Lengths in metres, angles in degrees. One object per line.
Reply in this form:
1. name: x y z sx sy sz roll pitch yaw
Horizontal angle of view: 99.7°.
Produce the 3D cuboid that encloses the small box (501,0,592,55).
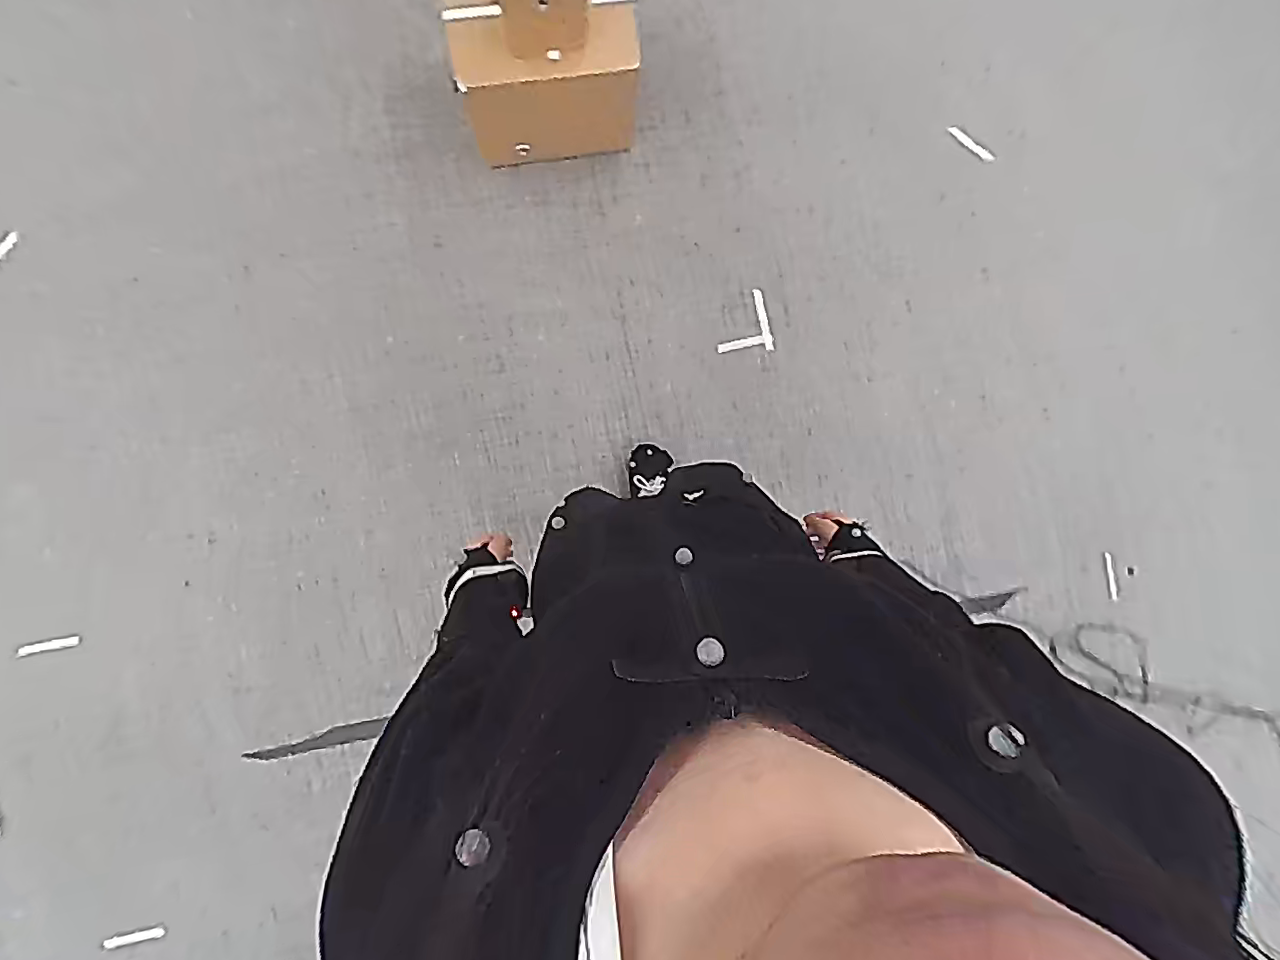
1. small box: -0.196 -0.998 1.082 0.179 0.176 0.168 -12 93 -4
